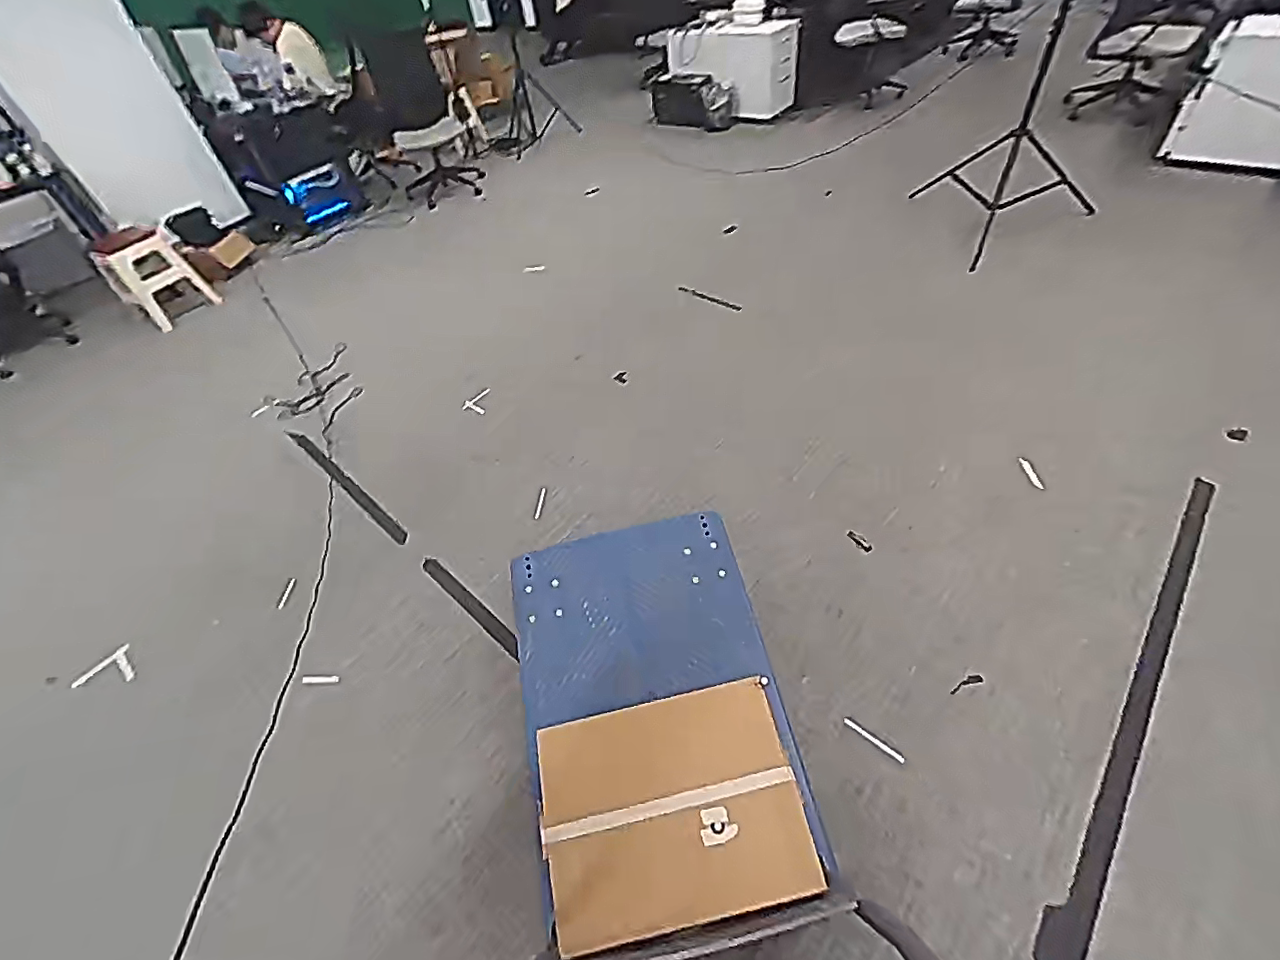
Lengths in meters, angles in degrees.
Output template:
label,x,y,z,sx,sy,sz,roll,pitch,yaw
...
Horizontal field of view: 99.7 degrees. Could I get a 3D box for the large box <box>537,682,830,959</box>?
label,x,y,z,sx,sy,sz,roll,pitch,yaw
large box,0.061,0.601,0.969,0.408,0.320,0.320,-13,58,-3
